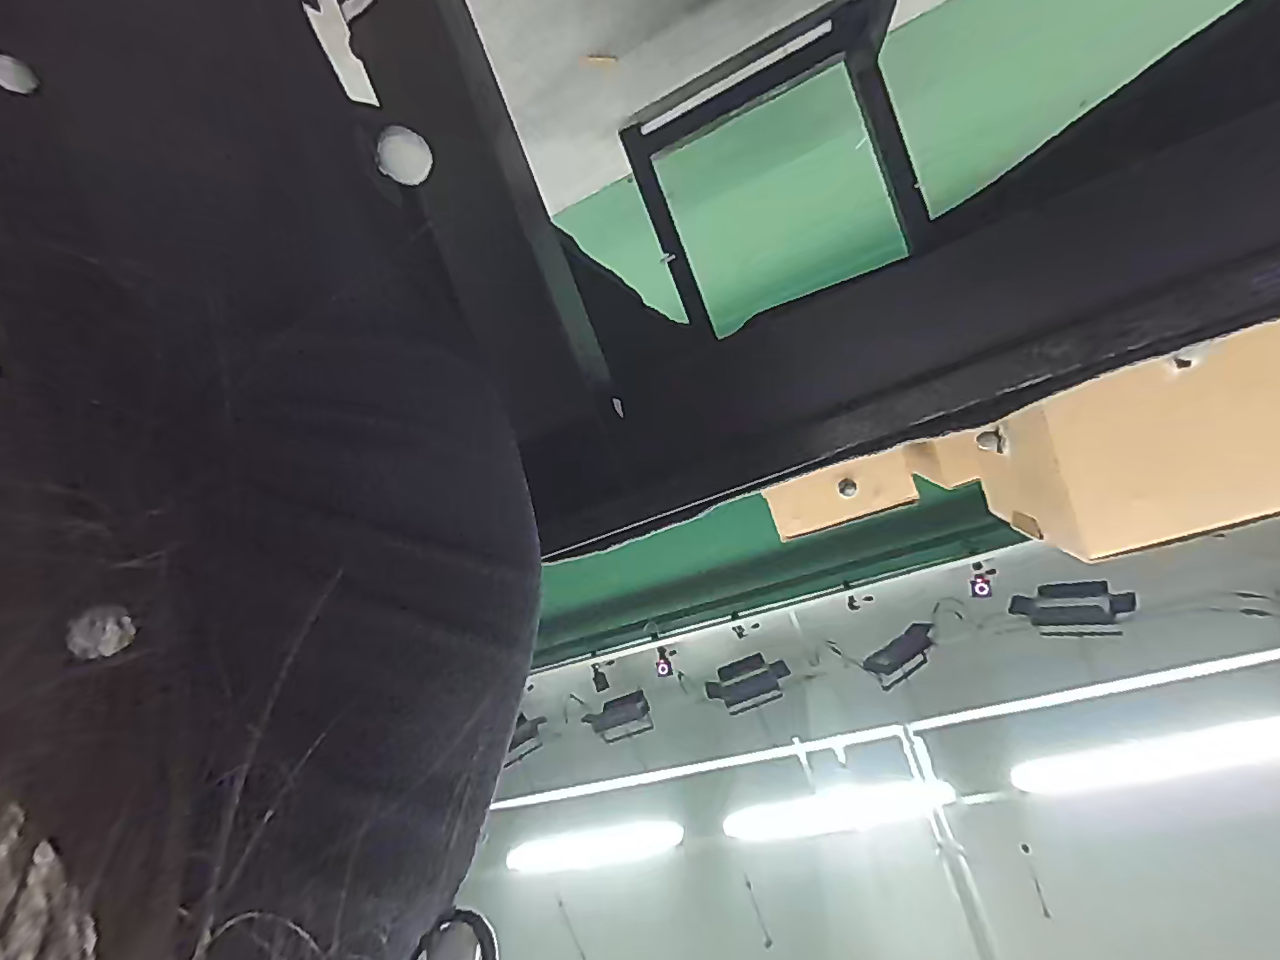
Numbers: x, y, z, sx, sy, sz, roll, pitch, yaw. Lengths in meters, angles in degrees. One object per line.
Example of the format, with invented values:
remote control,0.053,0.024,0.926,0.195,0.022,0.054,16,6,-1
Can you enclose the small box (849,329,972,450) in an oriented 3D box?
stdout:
small box,0.503,-0.170,1.008,0.168,0.176,0.179,-20,-175,17

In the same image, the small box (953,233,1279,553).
small box,0.380,-0.064,0.426,0.179,0.176,0.168,-19,-174,15
